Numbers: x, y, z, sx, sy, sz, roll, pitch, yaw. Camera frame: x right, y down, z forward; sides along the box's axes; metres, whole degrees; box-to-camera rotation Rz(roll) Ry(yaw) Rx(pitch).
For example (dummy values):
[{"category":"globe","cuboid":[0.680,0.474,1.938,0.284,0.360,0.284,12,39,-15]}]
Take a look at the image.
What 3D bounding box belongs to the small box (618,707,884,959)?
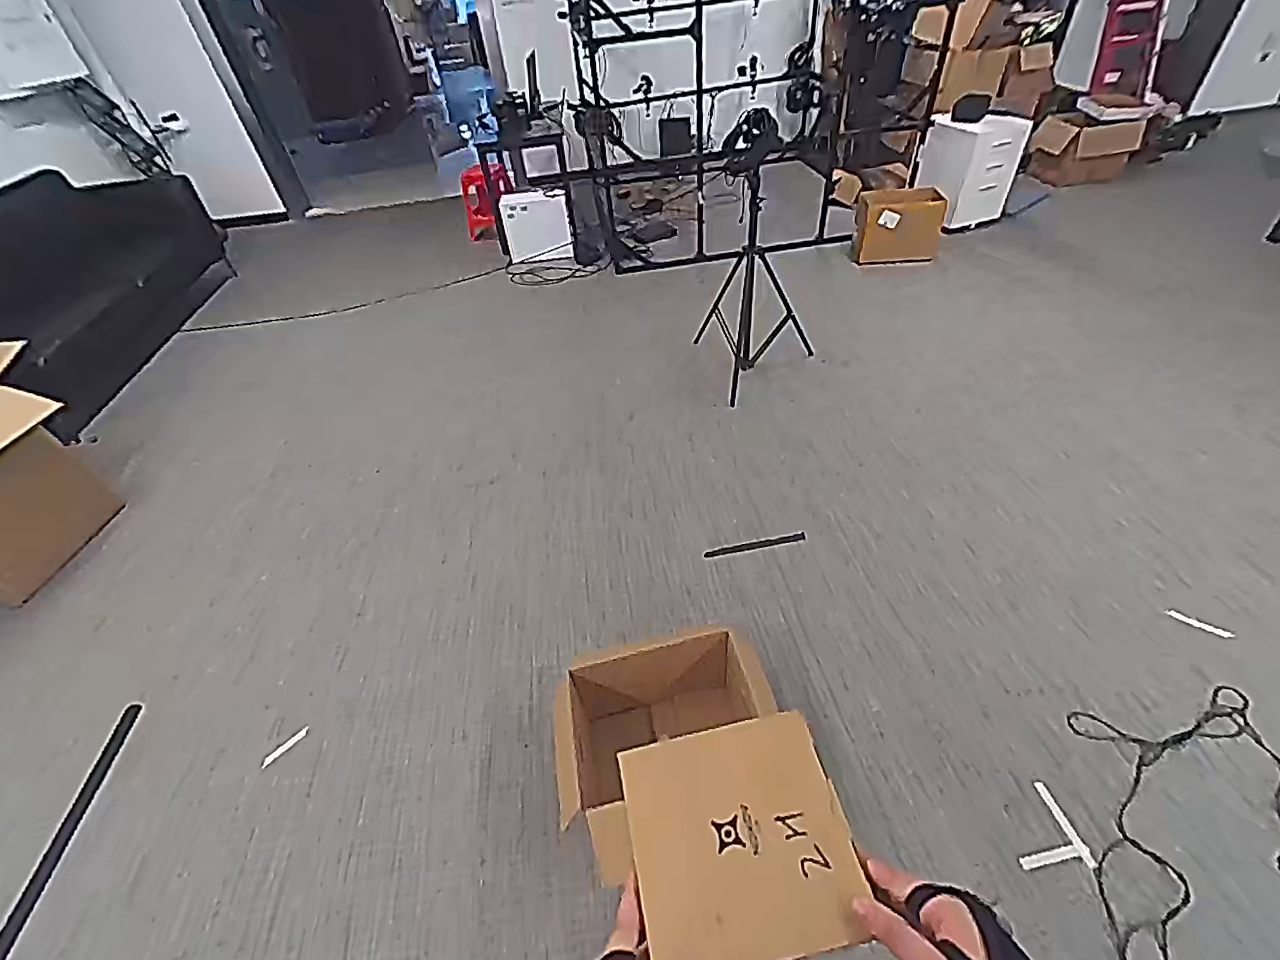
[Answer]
[{"category":"small box","cuboid":[0.087,0.335,0.494,0.179,0.176,0.168,-12,48,-3]}]
